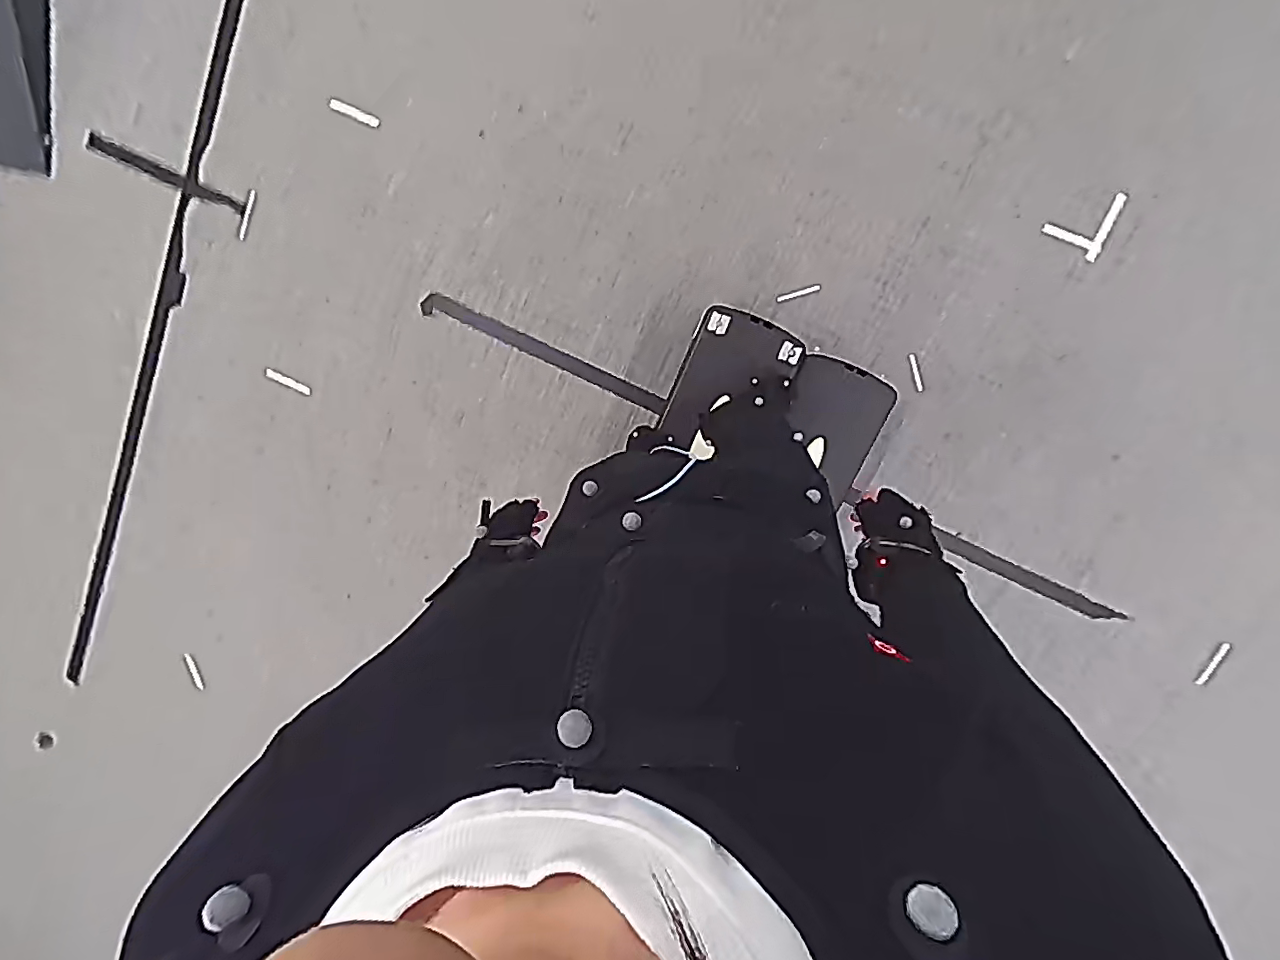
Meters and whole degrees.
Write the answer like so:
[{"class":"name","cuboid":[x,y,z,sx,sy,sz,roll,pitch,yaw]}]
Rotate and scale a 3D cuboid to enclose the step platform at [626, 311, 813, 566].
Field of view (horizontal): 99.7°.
[{"class":"step platform","cuboid":[0.207,-0.108,1.501,0.286,0.204,0.684,23,100,1]}]
